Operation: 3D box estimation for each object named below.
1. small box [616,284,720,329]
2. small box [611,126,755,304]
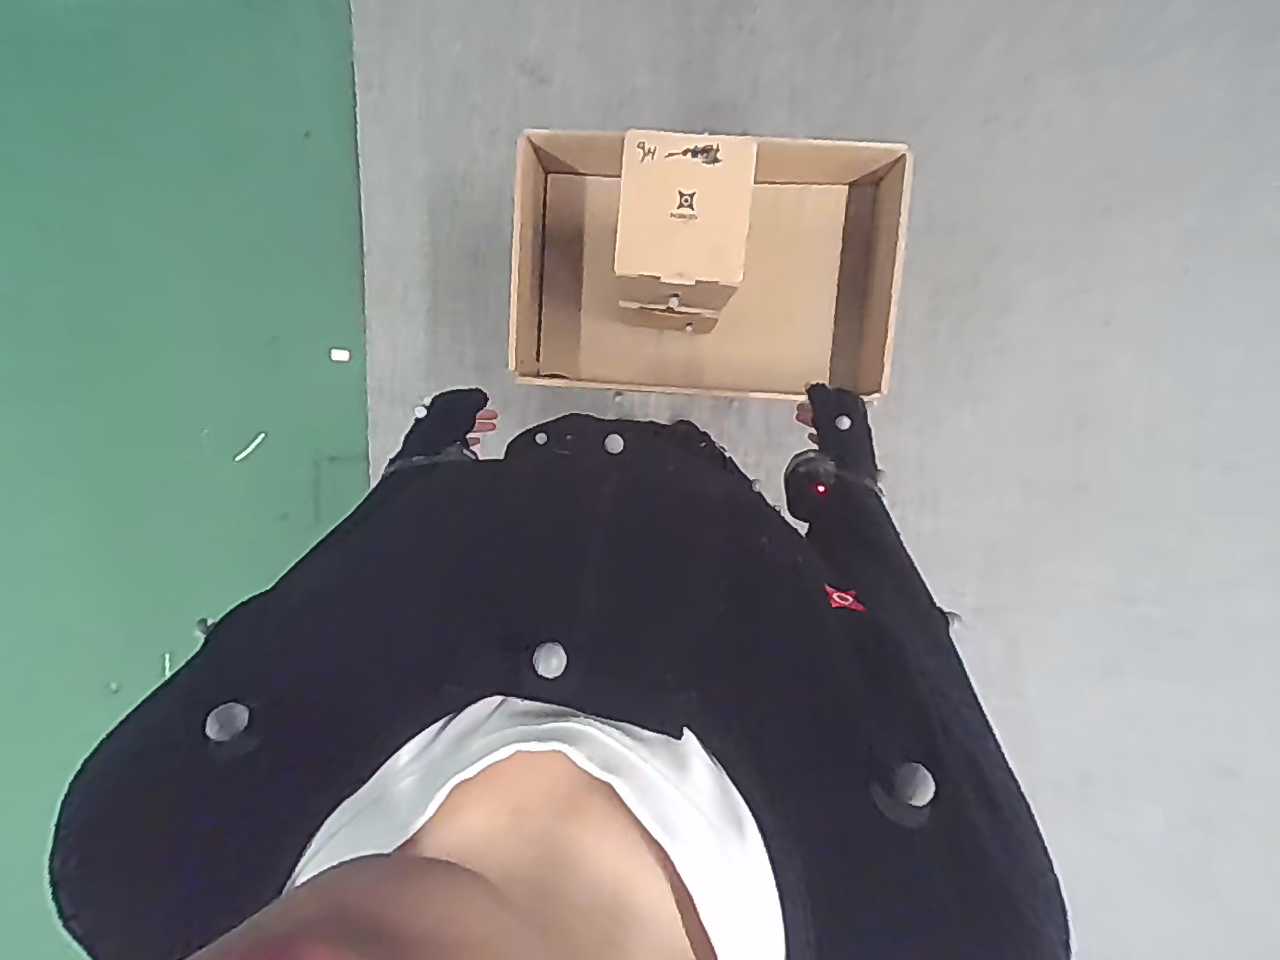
[{"bbox_3d":[0.054,-0.361,0.916,0.168,0.176,0.179,6,95,0],"label":"small box"},{"bbox_3d":[0.053,-0.351,0.752,0.168,0.176,0.179,5,98,0],"label":"small box"}]
